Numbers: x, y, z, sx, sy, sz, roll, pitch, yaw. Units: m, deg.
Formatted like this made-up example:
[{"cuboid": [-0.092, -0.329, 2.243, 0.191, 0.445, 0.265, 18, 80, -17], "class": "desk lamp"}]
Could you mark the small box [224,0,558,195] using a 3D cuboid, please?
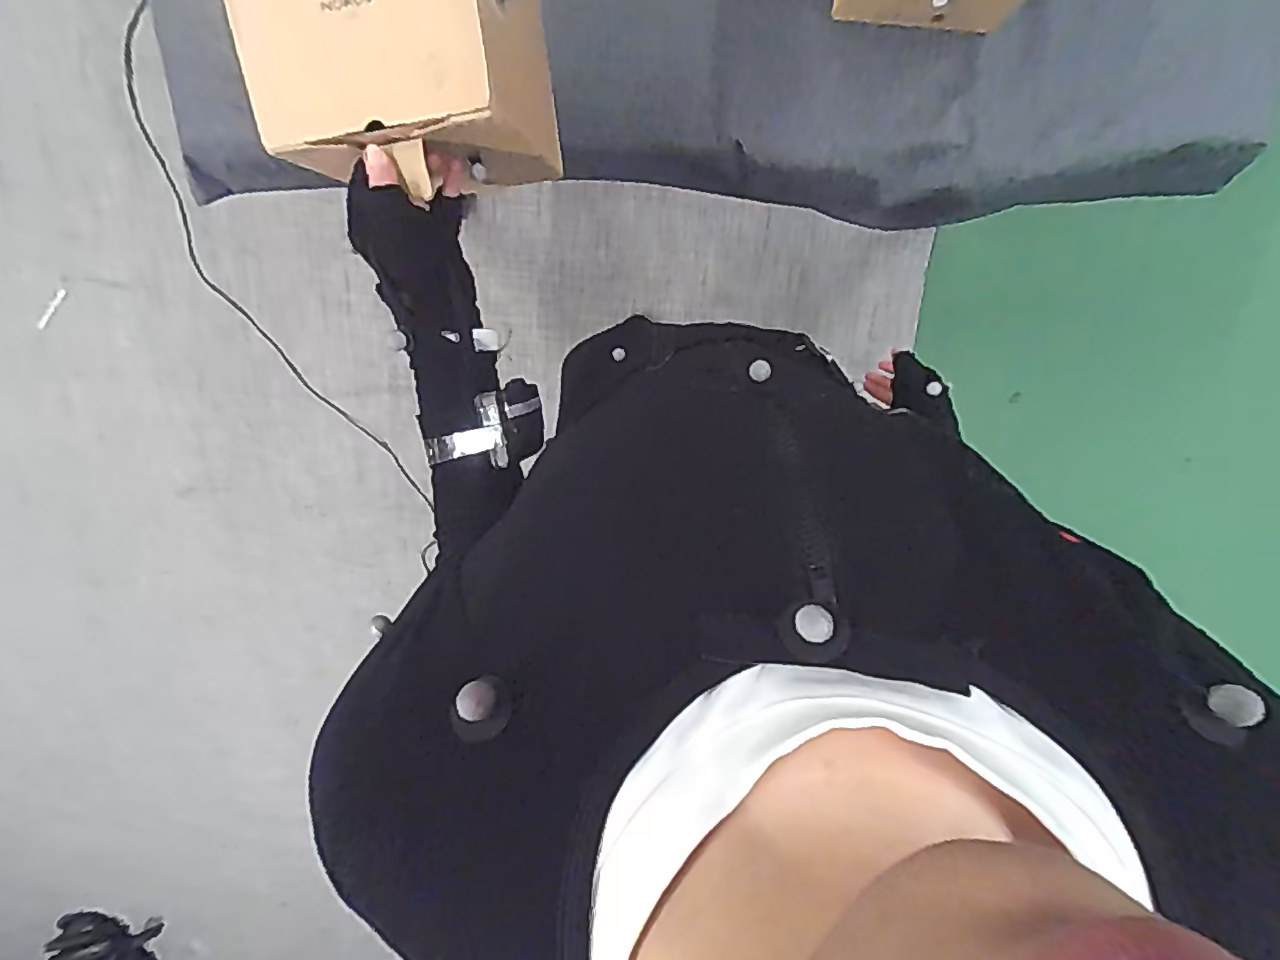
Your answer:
[{"cuboid": [-0.168, -0.327, 0.401, 0.168, 0.176, 0.179, -5, 105, 8], "class": "small box"}]
